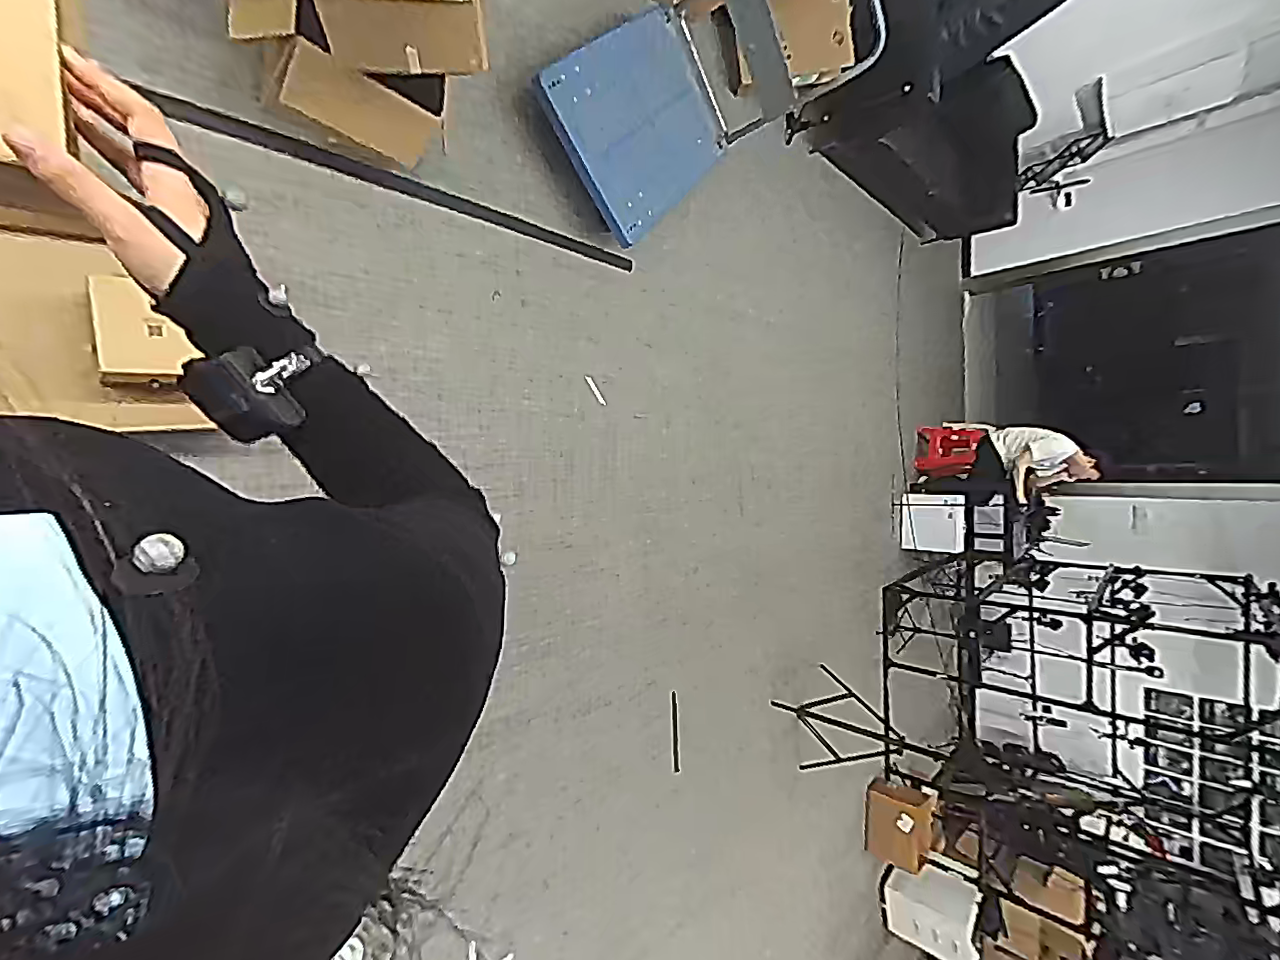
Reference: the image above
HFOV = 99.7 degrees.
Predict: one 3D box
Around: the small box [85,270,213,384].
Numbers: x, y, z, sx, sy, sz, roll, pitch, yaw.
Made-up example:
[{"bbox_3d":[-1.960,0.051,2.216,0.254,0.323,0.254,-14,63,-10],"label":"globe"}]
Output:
[{"bbox_3d":[-0.952,-0.283,1.050,0.168,0.176,0.179,-8,95,-46],"label":"small box"}]
